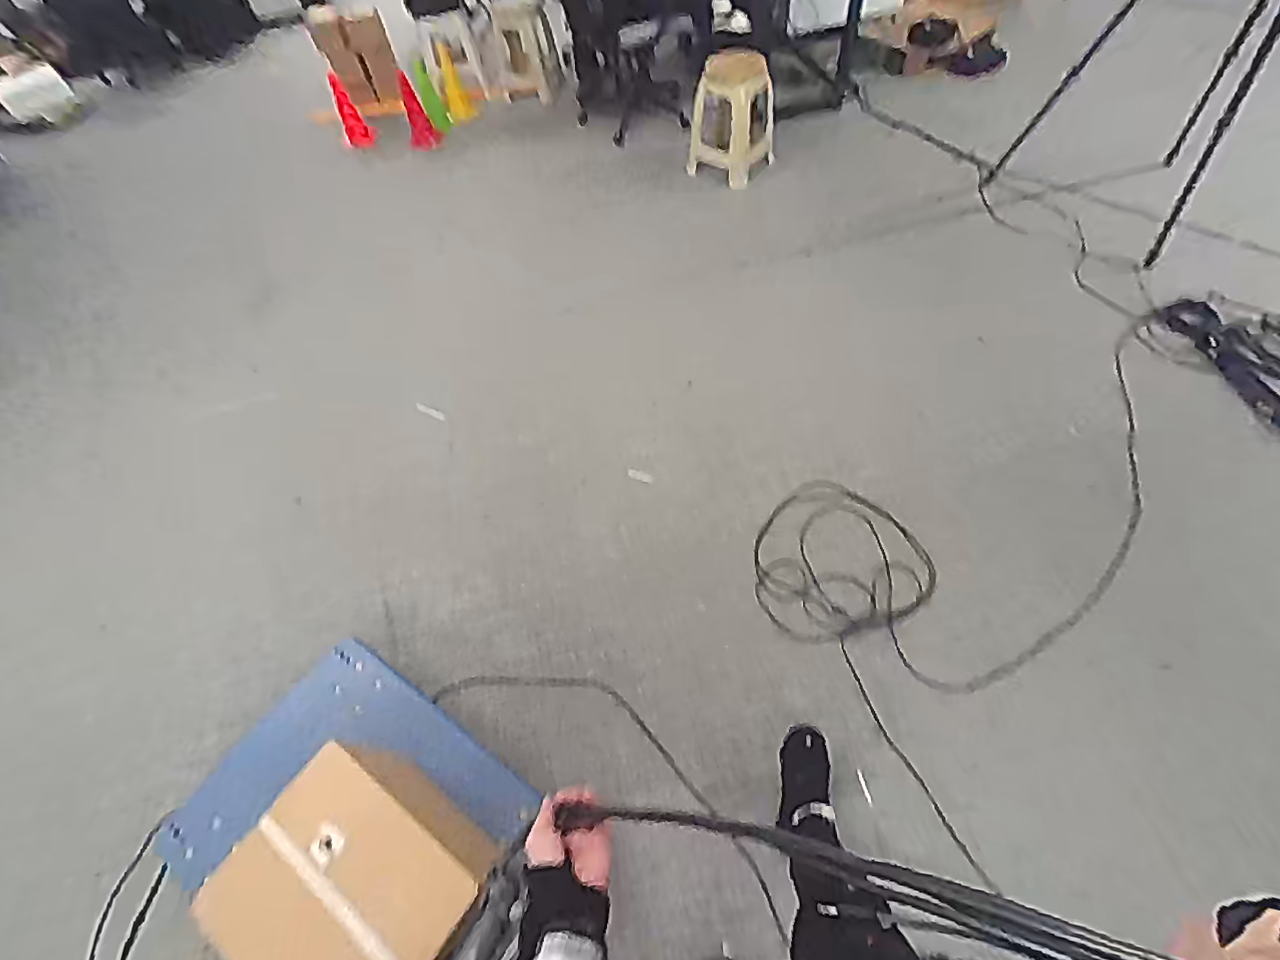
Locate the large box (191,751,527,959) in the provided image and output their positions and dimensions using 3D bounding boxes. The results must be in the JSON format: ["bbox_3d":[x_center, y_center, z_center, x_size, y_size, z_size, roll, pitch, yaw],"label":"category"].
[{"bbox_3d":[-0.490,0.786,1.015,0.408,0.320,0.320,27,63,23],"label":"large box"}]
